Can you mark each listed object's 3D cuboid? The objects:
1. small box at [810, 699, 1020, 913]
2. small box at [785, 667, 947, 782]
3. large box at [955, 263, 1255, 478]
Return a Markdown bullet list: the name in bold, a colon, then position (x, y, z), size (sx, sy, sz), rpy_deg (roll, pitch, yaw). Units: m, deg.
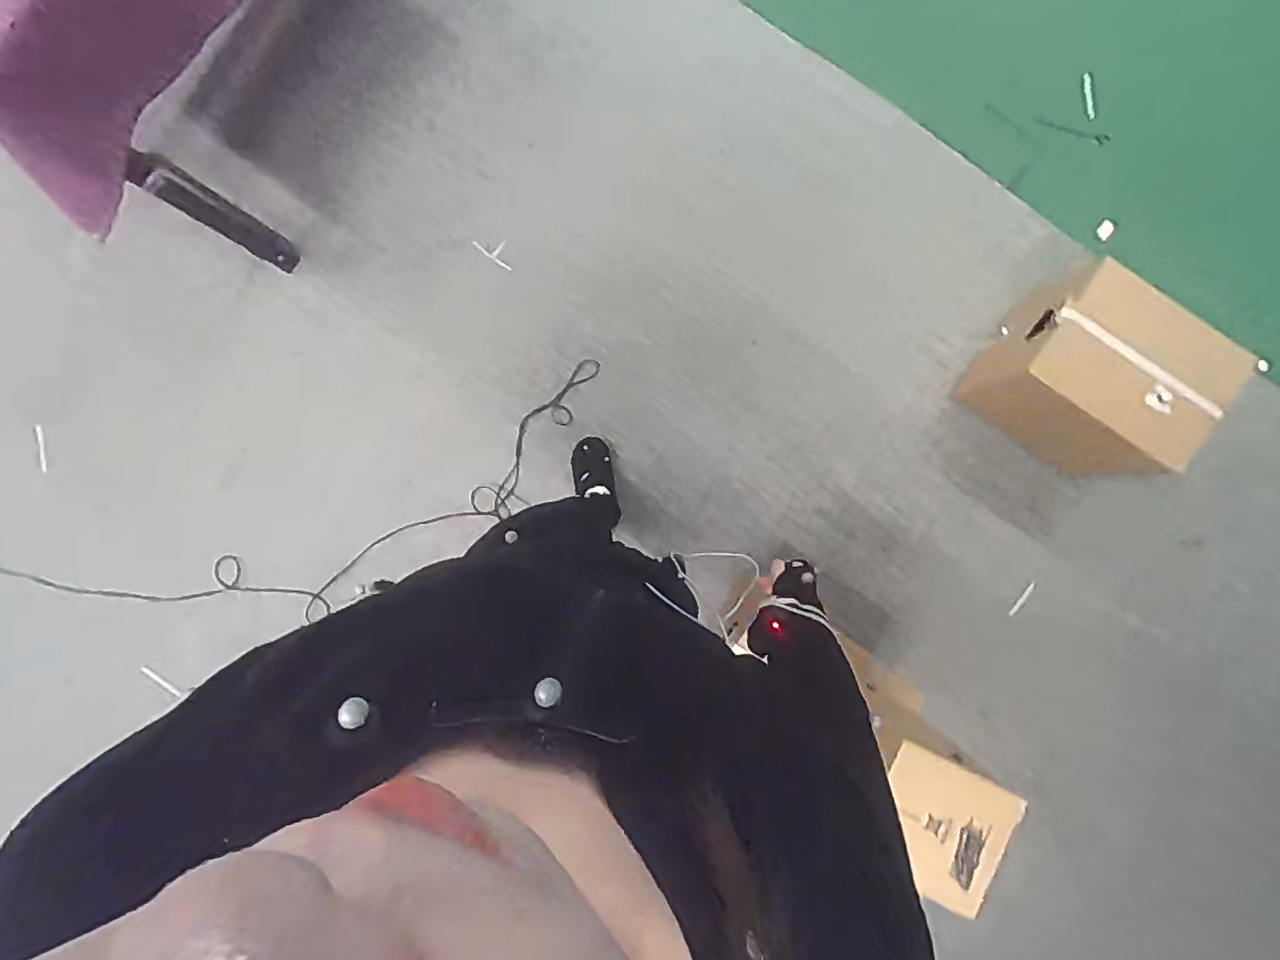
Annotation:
- **small box**: position (0.375, 0.443, 0.769), size (0.179, 0.176, 0.168), rpy_deg (27, 88, 2)
- **small box**: position (0.375, 0.447, 0.935), size (0.179, 0.176, 0.168), rpy_deg (28, 89, 2)
- **large box**: position (1.100, -0.243, 1.332), size (0.408, 0.320, 0.320), rpy_deg (36, 90, 1)
